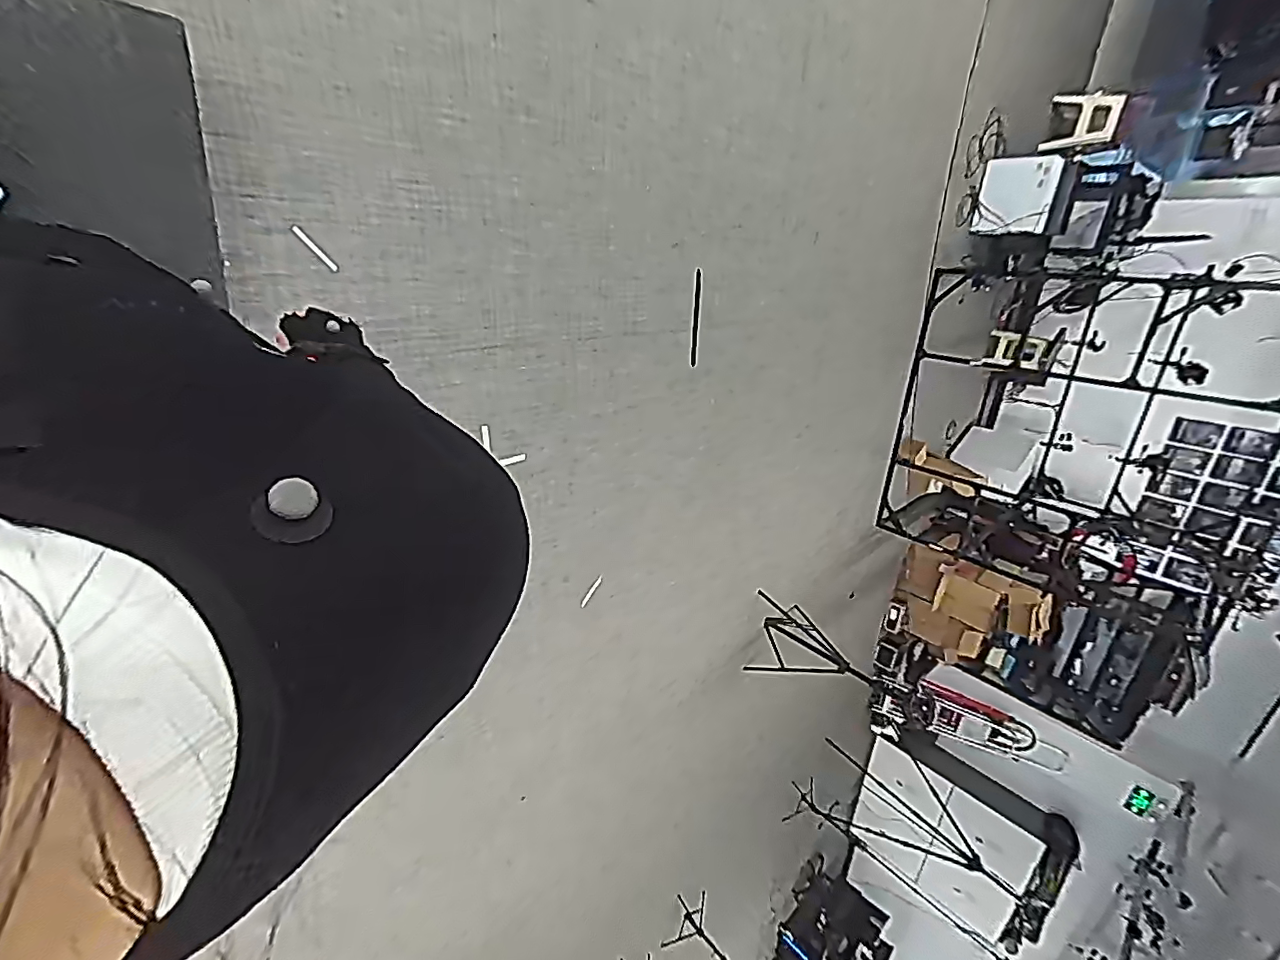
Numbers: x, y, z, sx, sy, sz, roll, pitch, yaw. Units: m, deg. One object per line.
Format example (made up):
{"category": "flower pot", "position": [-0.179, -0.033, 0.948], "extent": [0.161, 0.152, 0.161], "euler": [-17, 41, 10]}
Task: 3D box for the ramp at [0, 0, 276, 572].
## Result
{"category": "ramp", "position": [-1.041, -0.293, 1.013], "extent": [0.509, 0.206, 0.991], "euler": [-19, 120, -40]}
